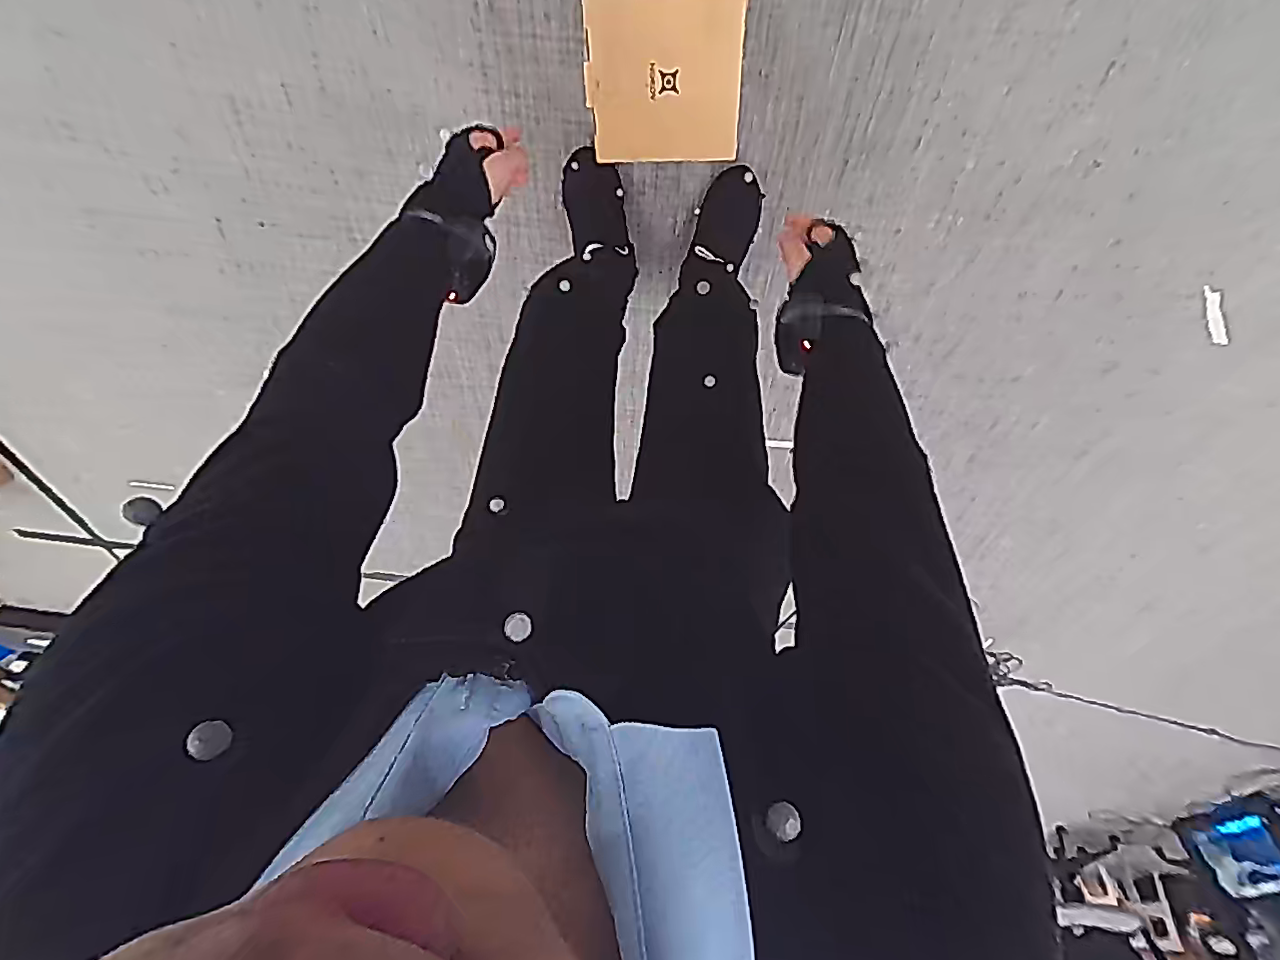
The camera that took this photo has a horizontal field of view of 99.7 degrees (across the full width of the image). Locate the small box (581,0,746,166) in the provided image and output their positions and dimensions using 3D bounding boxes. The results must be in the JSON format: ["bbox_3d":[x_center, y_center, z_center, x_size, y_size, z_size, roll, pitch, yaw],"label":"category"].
[{"bbox_3d":[0.034,-0.507,0.672,0.179,0.176,0.168,3,135,6],"label":"small box"}]
